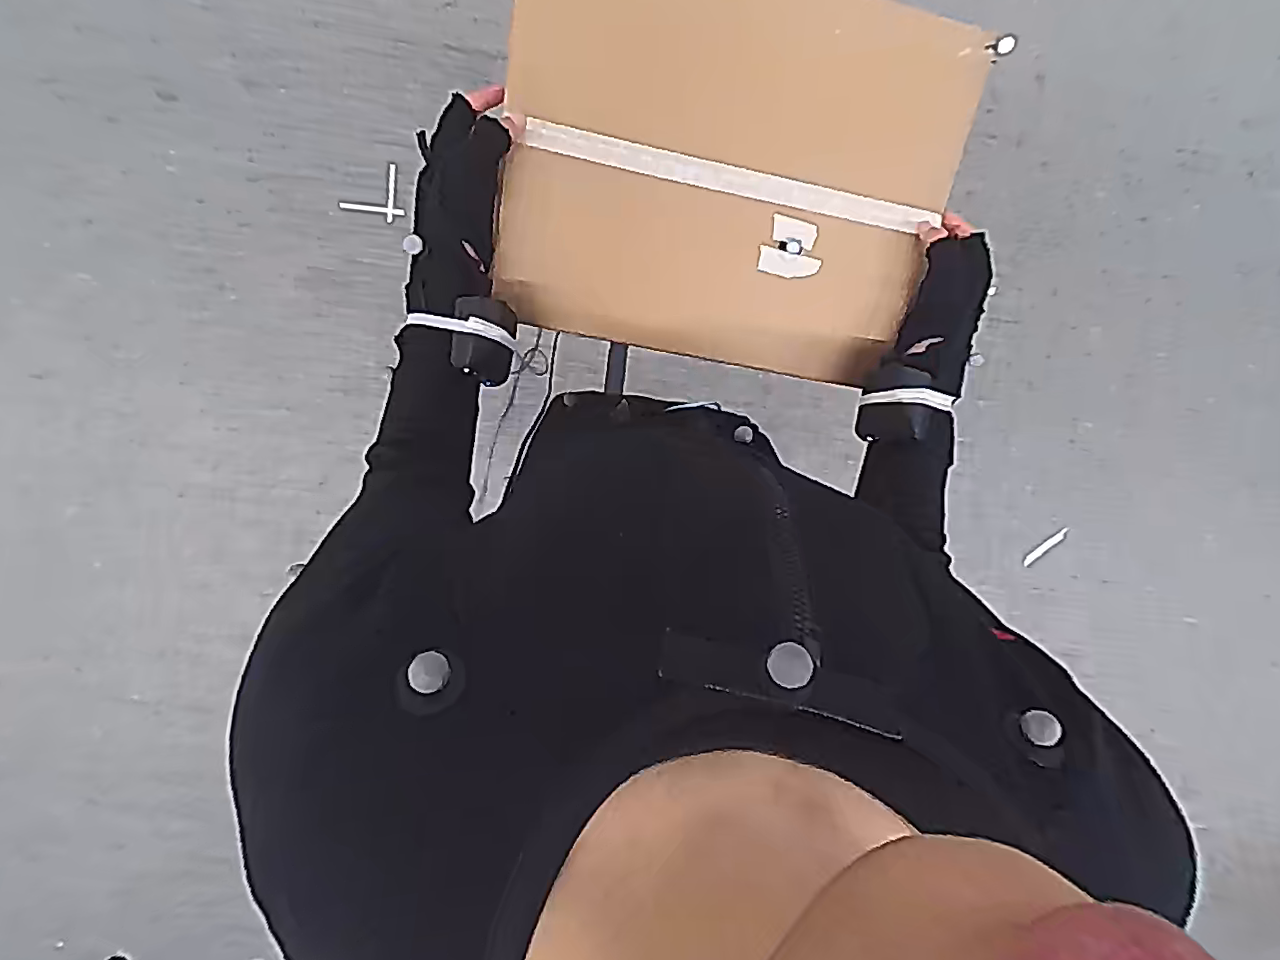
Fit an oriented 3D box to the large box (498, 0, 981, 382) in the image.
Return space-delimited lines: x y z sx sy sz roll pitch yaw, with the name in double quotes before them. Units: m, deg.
"large box" 0.070 -0.320 0.637 0.408 0.320 0.320 9 108 -8
